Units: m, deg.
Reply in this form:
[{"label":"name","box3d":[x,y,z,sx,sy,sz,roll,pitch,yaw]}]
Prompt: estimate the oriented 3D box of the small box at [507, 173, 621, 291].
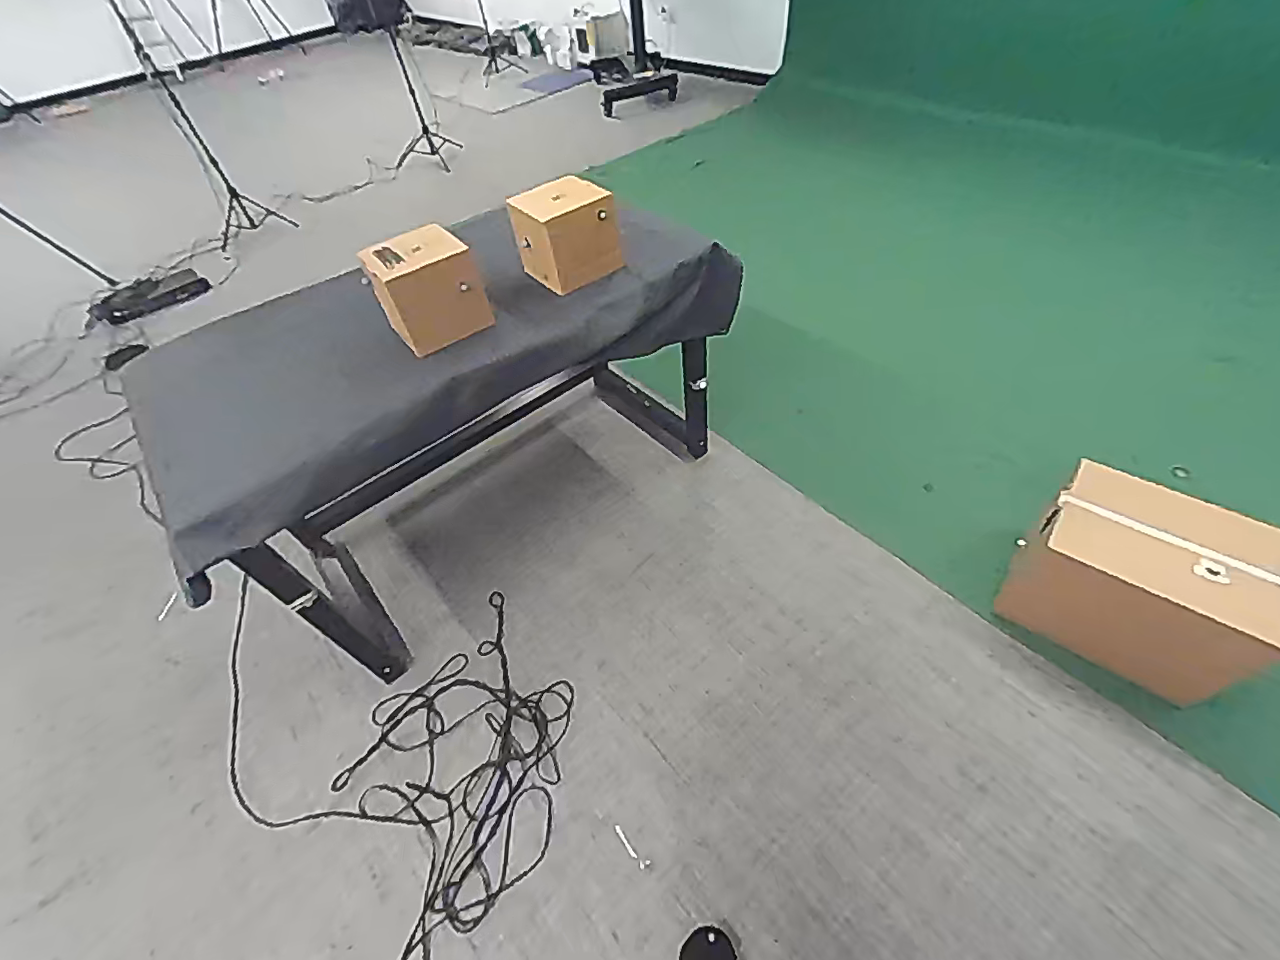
[{"label":"small box","box3d":[-0.161,-0.548,1.200,0.179,0.176,0.168,-33,53,-20]}]
